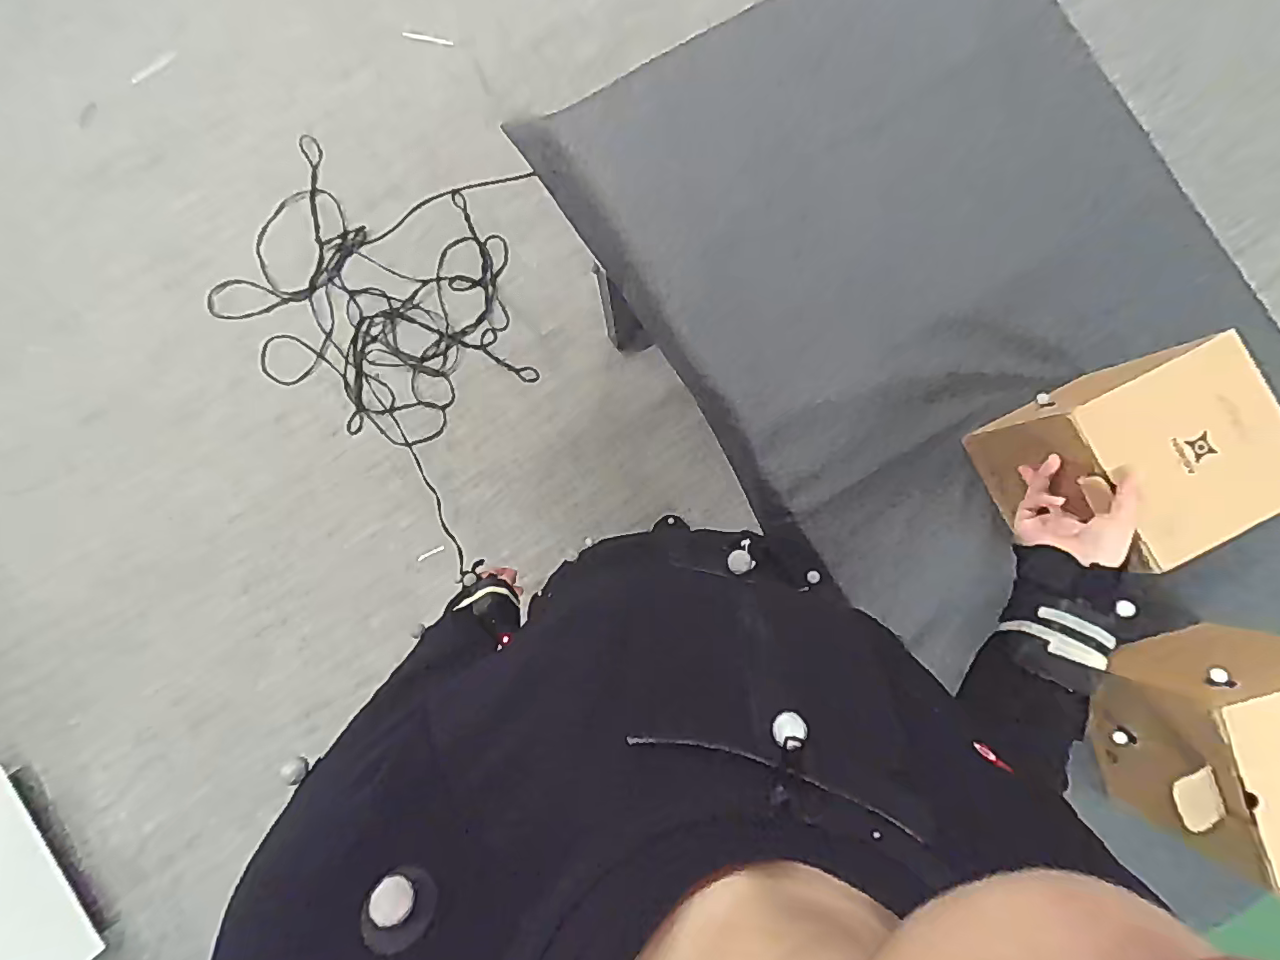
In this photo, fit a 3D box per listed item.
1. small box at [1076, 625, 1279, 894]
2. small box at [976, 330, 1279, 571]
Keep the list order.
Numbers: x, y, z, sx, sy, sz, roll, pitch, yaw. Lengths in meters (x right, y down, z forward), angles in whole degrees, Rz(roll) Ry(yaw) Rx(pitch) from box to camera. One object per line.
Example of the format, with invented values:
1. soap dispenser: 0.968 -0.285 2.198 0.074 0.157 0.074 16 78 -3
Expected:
1. small box: 0.603 0.257 0.541 0.179 0.176 0.168 -15 86 -1
2. small box: 0.495 -0.021 0.564 0.179 0.176 0.168 -28 87 -3
